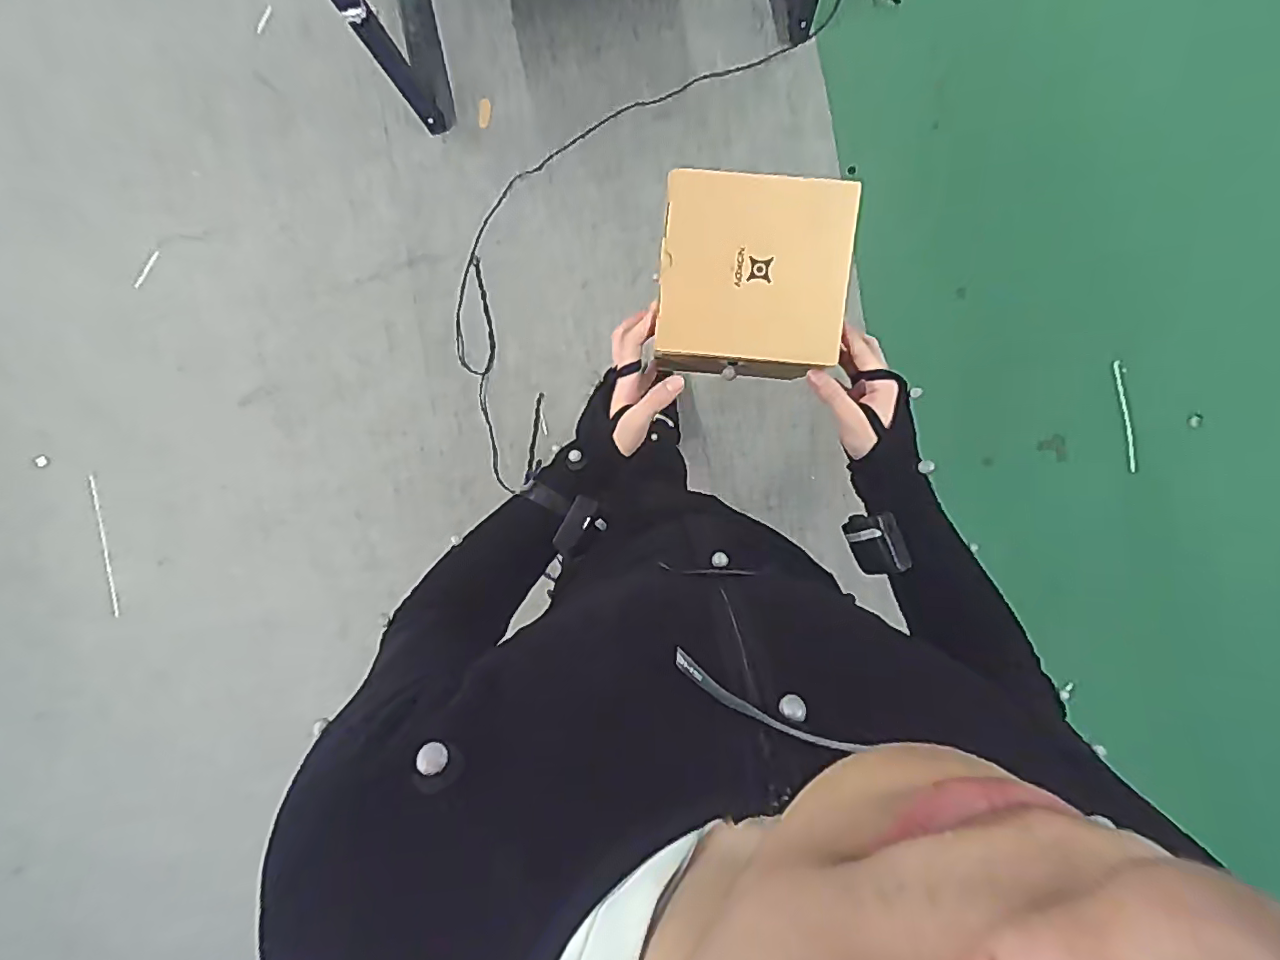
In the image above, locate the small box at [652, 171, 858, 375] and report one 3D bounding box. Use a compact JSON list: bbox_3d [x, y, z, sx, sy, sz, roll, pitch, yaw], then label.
[{"bbox_3d":[0.109,-0.205,0.582,0.179,0.176,0.168,5,97,4],"label":"small box"}]
